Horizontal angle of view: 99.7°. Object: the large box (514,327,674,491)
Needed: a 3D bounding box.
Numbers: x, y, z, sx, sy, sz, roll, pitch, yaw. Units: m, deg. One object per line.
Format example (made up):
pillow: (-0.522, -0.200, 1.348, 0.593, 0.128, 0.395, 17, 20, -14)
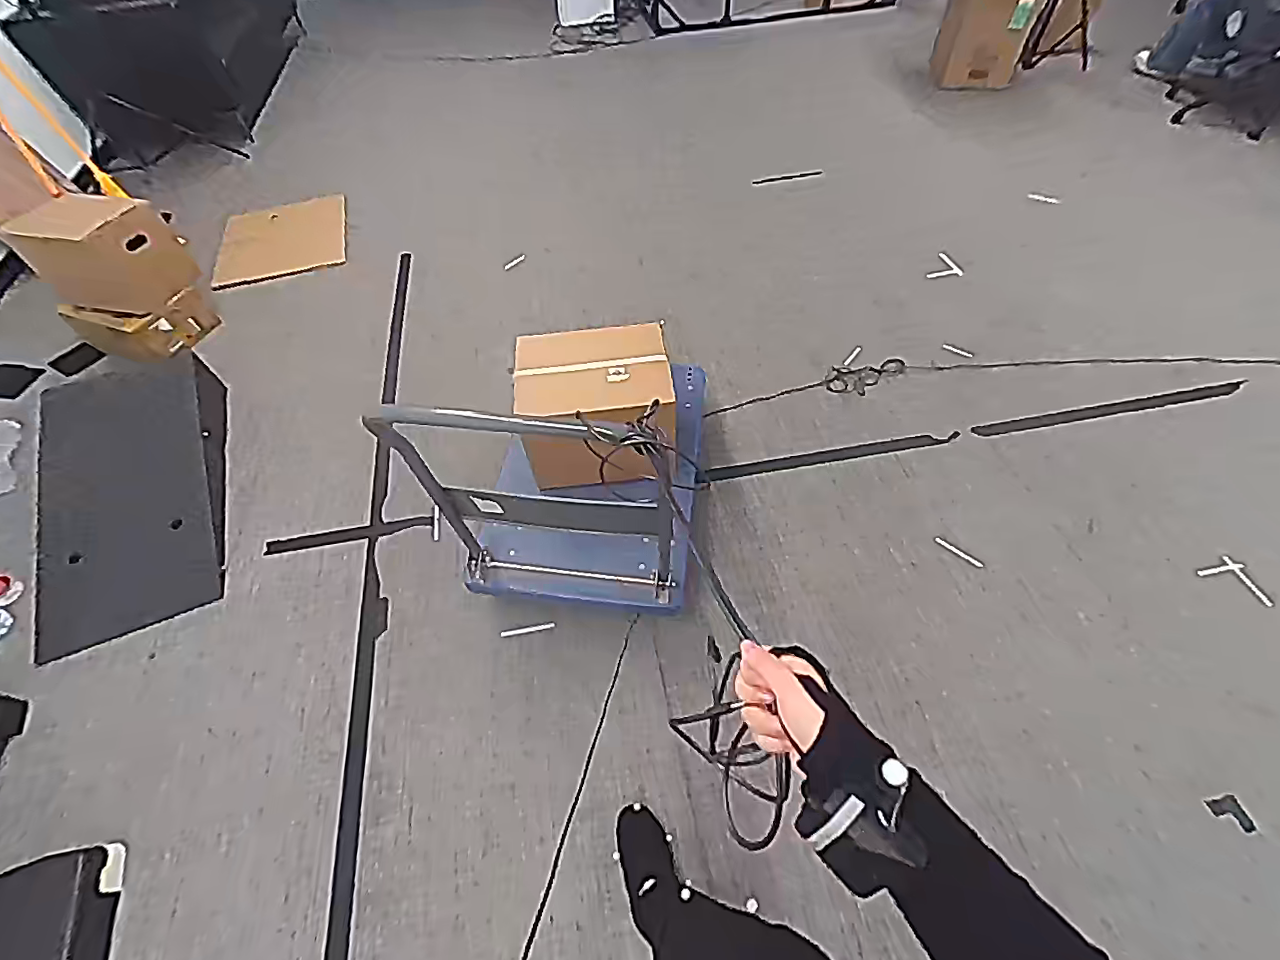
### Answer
large box: (-0.127, -0.196, 1.533, 0.408, 0.320, 0.320, -6, 55, -2)
